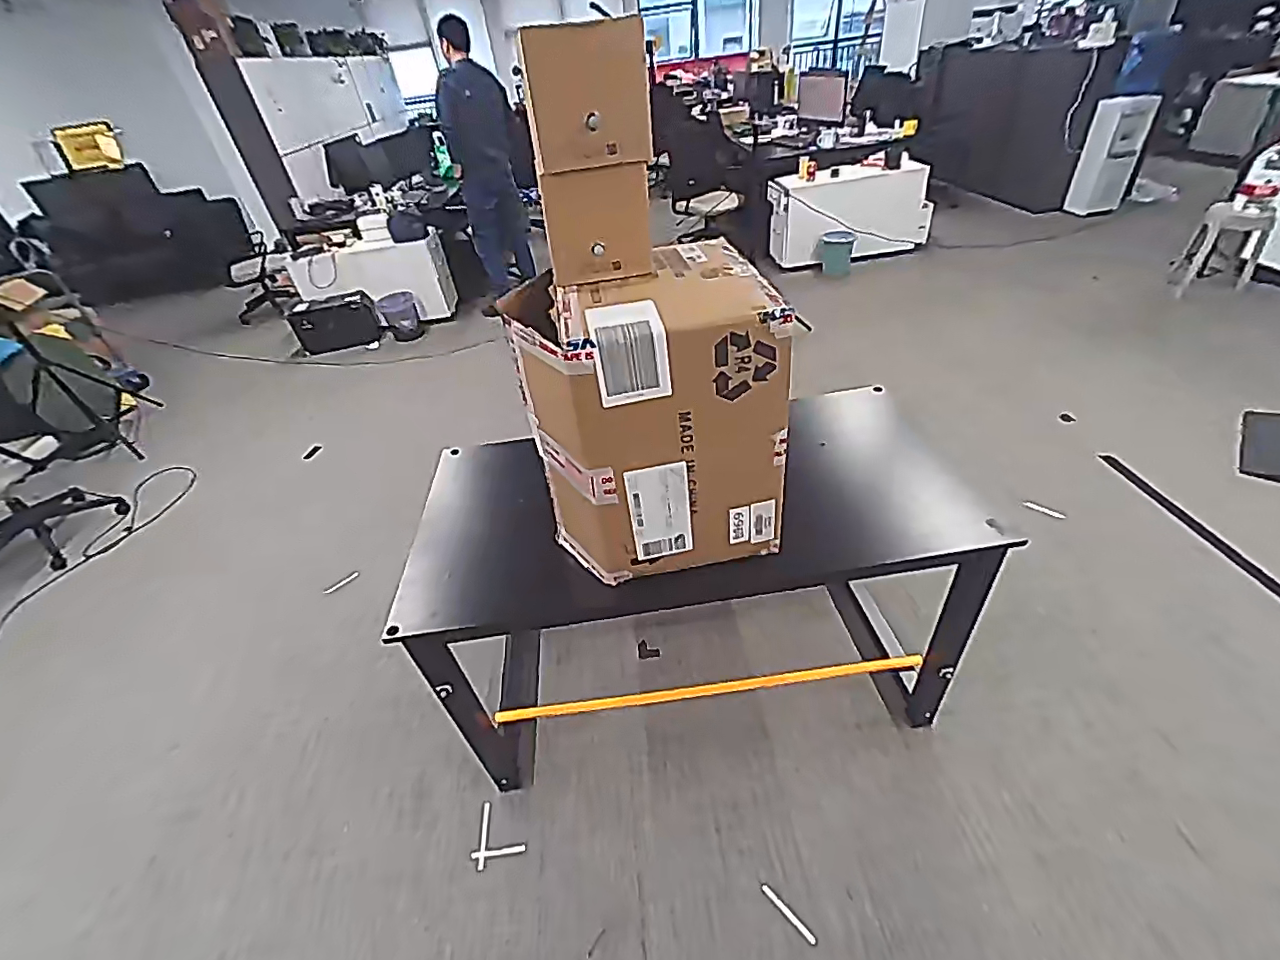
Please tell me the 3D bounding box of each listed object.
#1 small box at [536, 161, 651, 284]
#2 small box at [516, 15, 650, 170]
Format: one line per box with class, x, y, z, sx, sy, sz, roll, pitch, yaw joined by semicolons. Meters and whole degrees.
small box;-0.079;-0.446;0.918;0.168;0.176;0.179;-11;37;-5
small box;-0.087;-0.575;0.814;0.168;0.176;0.179;-12;37;-7
